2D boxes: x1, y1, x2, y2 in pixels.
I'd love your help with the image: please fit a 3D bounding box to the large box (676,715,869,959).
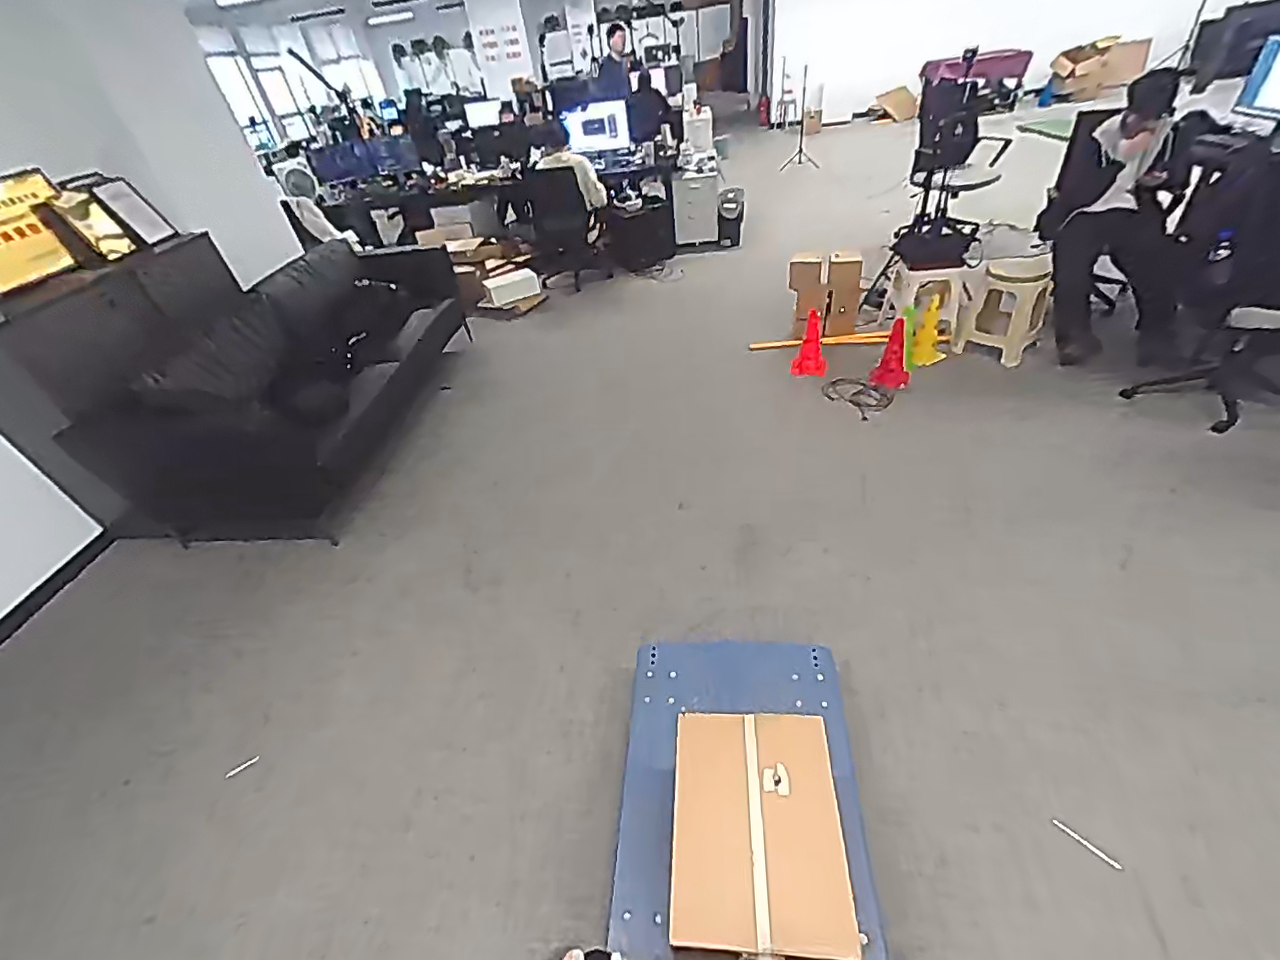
[{"bbox_3d":[0.247,0.754,1.113,0.320,0.320,0.408,-2,39,9],"label":"large box"}]
